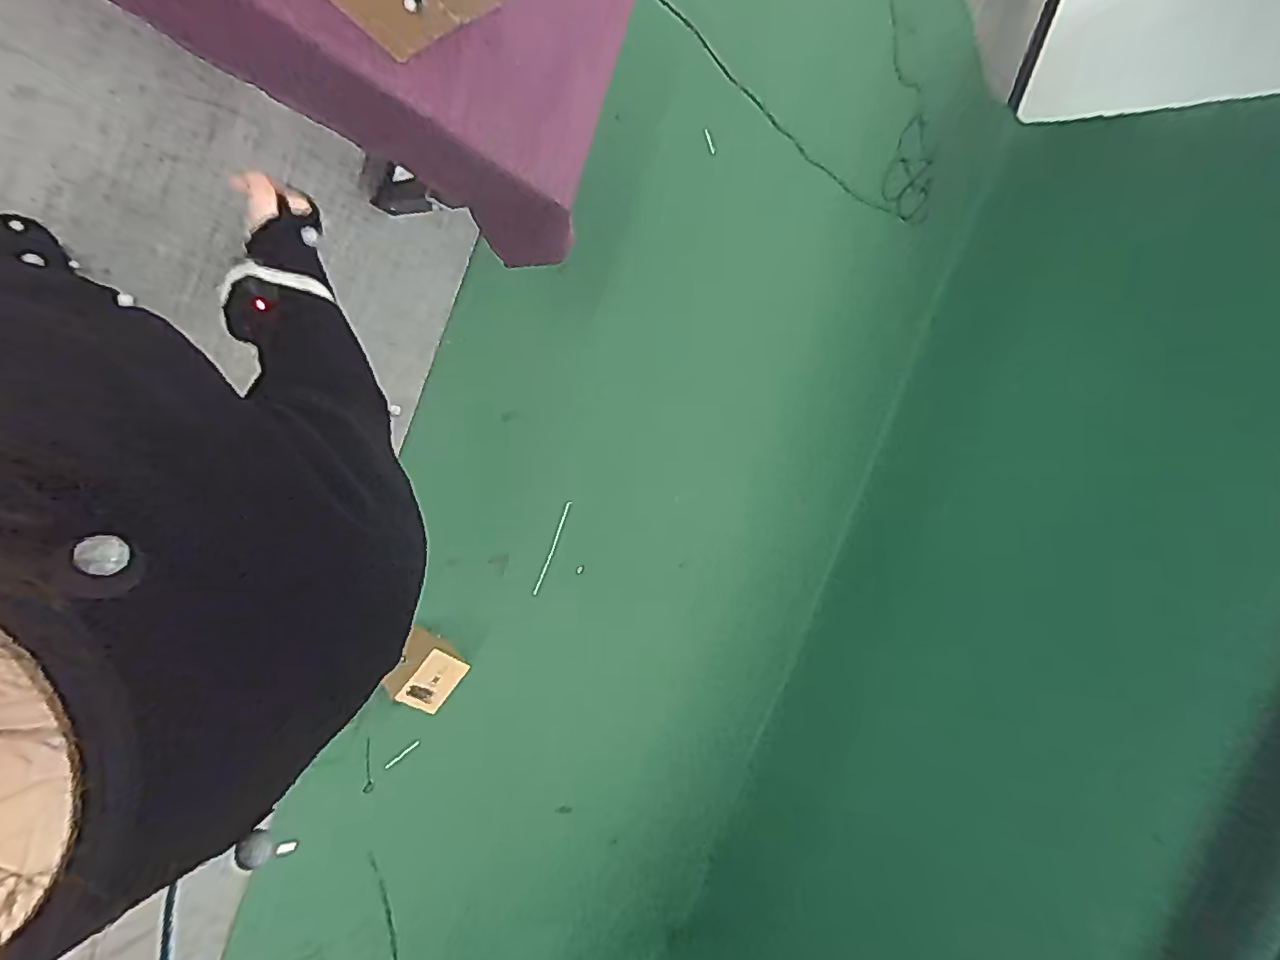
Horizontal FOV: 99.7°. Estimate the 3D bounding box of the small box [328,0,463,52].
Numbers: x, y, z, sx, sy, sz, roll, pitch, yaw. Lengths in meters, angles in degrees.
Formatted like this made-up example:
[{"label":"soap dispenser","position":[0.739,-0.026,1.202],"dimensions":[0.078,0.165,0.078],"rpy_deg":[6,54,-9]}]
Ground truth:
[{"label":"small box","position":[-0.258,-0.572,0.527],"dimensions":[0.179,0.176,0.168],"rpy_deg":[22,90,-48]}]
